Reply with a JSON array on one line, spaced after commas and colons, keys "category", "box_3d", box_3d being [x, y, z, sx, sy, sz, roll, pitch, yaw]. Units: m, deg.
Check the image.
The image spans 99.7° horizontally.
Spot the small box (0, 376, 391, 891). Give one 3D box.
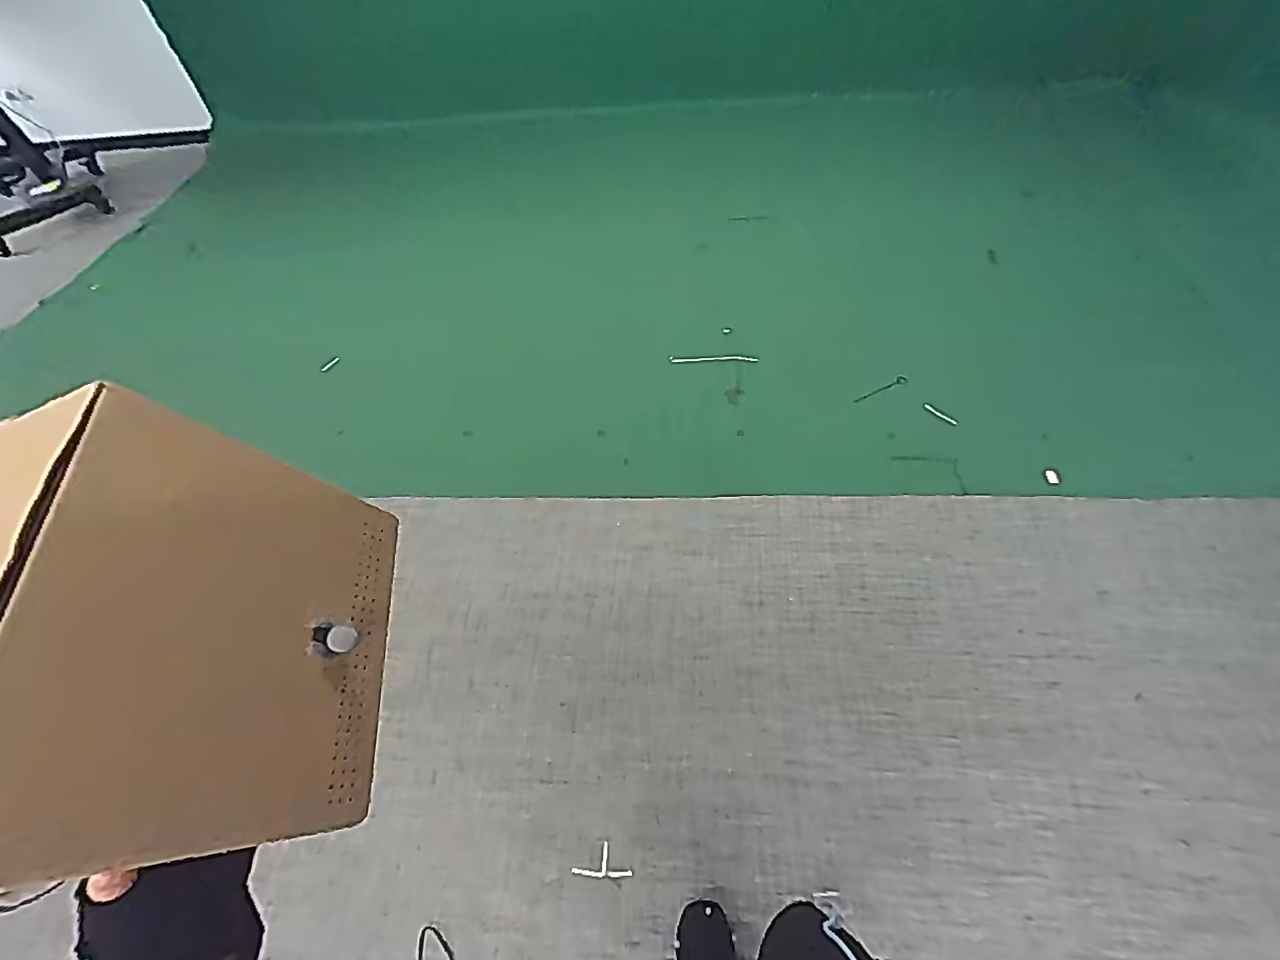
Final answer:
[{"category": "small box", "box_3d": [-0.250, 0.085, 0.263, 0.168, 0.176, 0.179, -15, 61, 15]}]
